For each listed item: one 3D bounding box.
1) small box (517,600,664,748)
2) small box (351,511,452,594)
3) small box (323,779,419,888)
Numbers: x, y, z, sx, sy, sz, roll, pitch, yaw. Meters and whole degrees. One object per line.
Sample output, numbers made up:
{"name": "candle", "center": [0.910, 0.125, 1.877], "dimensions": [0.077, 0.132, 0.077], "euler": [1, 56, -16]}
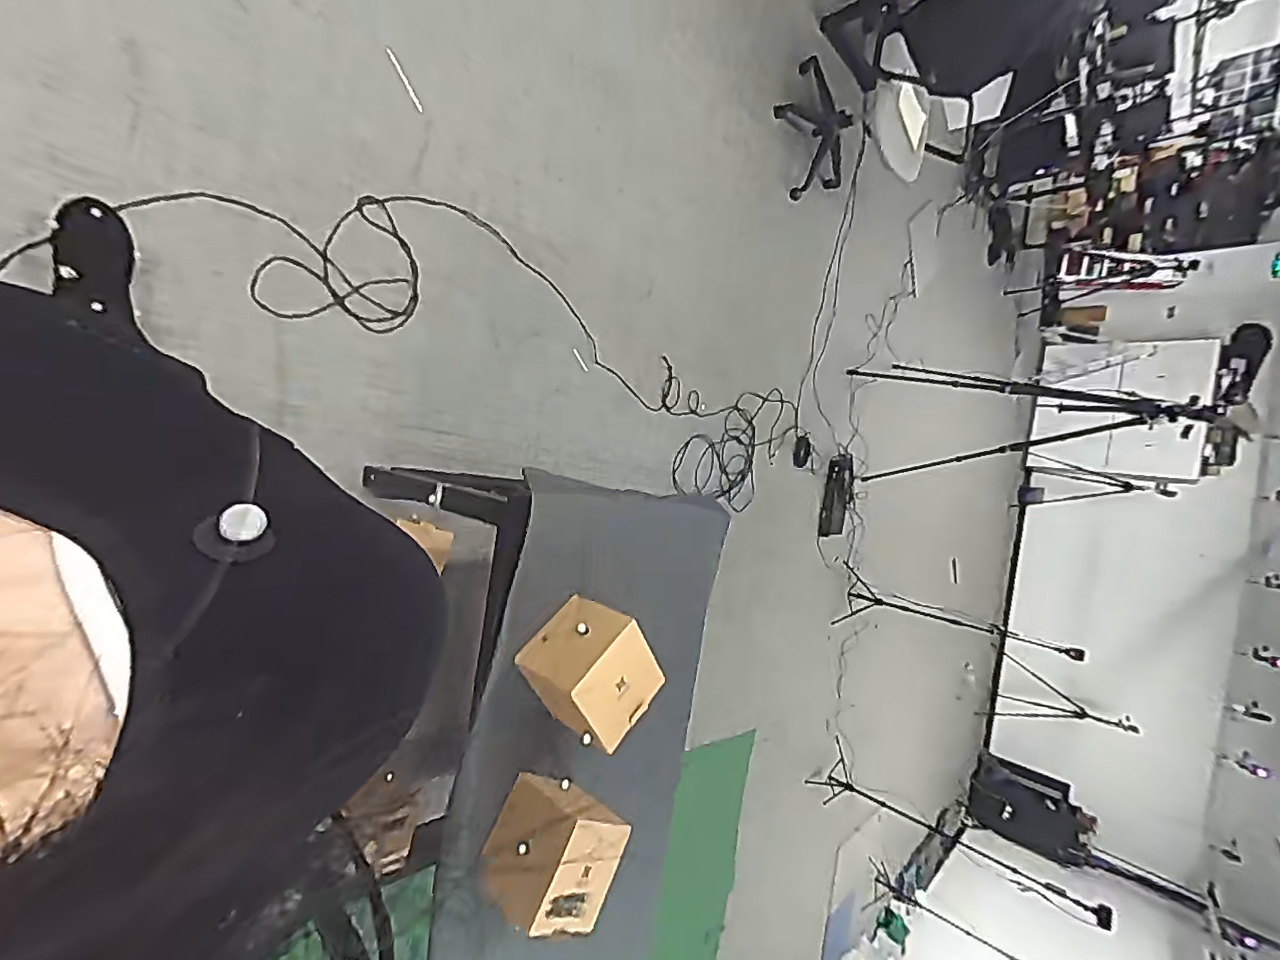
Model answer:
{"name": "small box", "center": [-0.090, 0.337, 0.979], "dimensions": [0.168, 0.176, 0.179], "euler": [-45, 126, -32]}
{"name": "small box", "center": [-0.638, 0.190, 1.441], "dimensions": [0.168, 0.176, 0.179], "euler": [25, 77, -46]}
{"name": "small box", "center": [-0.729, 0.937, 1.459], "dimensions": [0.168, 0.176, 0.179], "euler": [16, 86, -46]}
